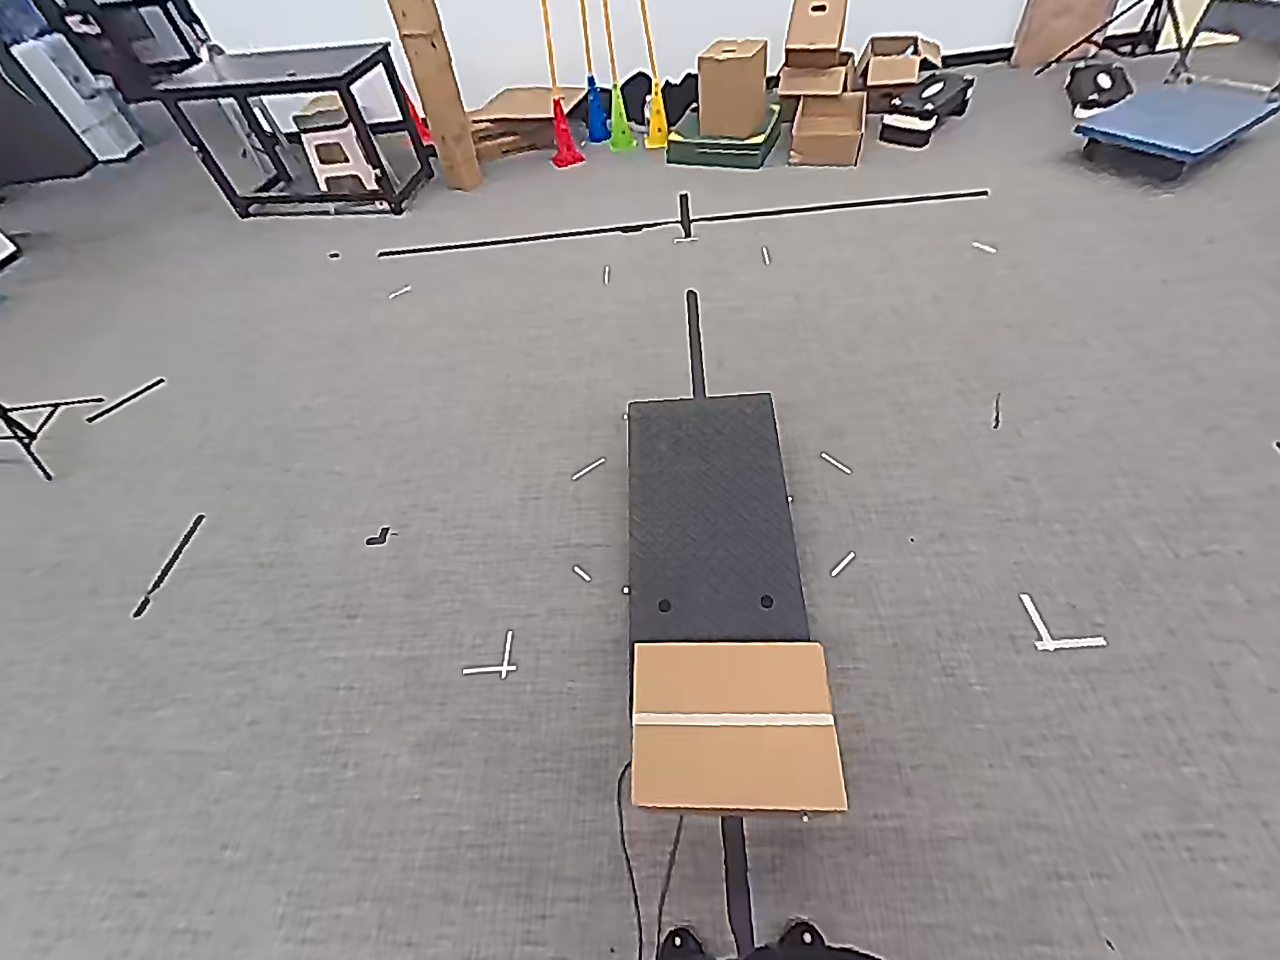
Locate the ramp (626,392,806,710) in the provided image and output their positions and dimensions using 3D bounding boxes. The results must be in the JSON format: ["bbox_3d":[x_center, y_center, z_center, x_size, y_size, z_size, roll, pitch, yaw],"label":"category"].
[{"bbox_3d":[0.203,0.155,1.631,0.509,0.206,0.991,-4,52,2],"label":"ramp"}]

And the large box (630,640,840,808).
[{"bbox_3d":[0.194,0.564,1.228,0.408,0.320,0.320,-2,56,5],"label":"large box"}]
